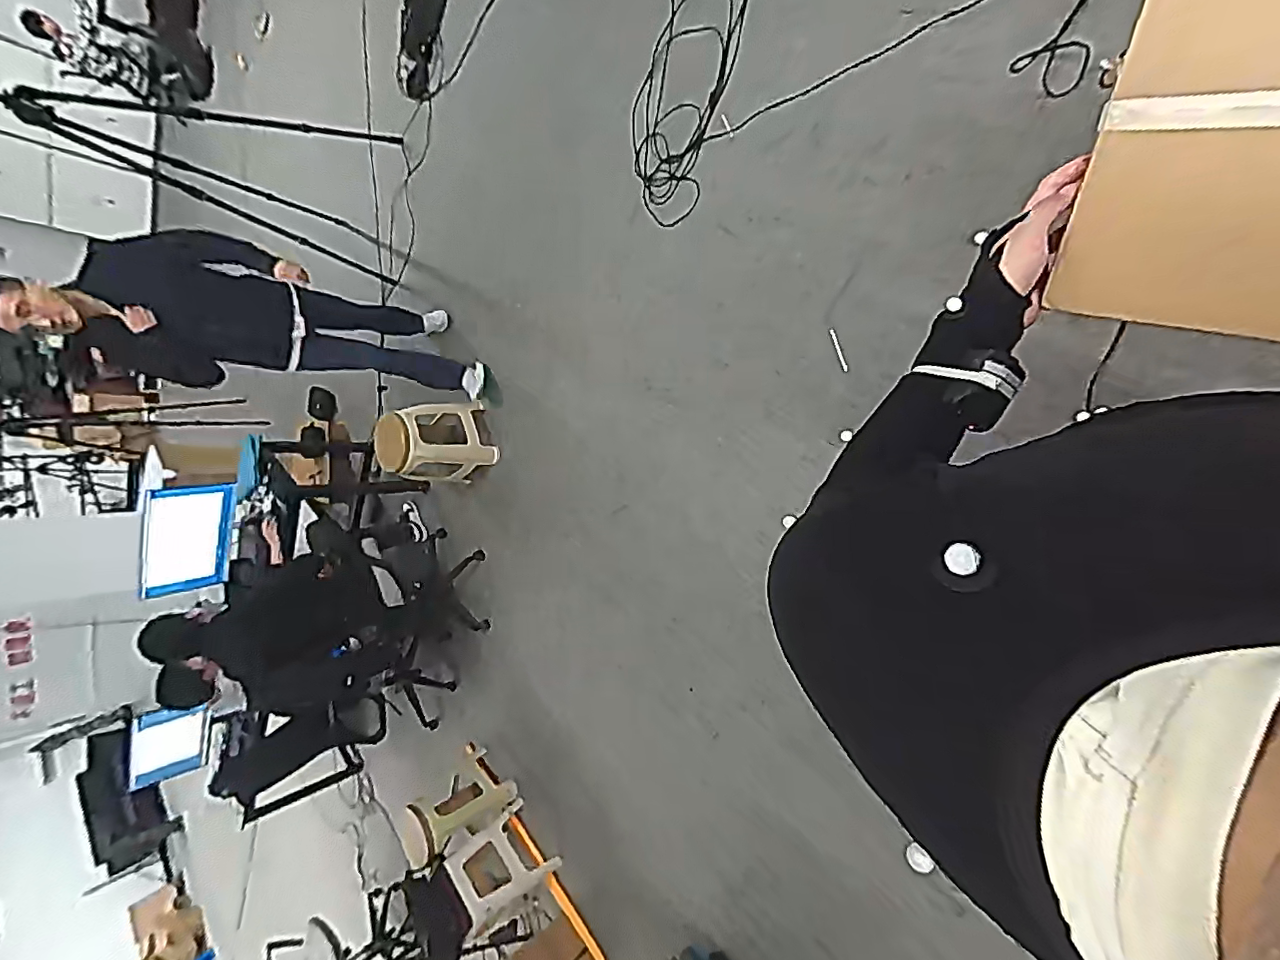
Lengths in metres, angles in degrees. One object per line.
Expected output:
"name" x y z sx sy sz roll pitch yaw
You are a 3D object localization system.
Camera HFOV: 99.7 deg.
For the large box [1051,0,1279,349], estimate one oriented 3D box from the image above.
"large box" 0.639 -0.280 0.427 0.408 0.320 0.320 25 129 37
